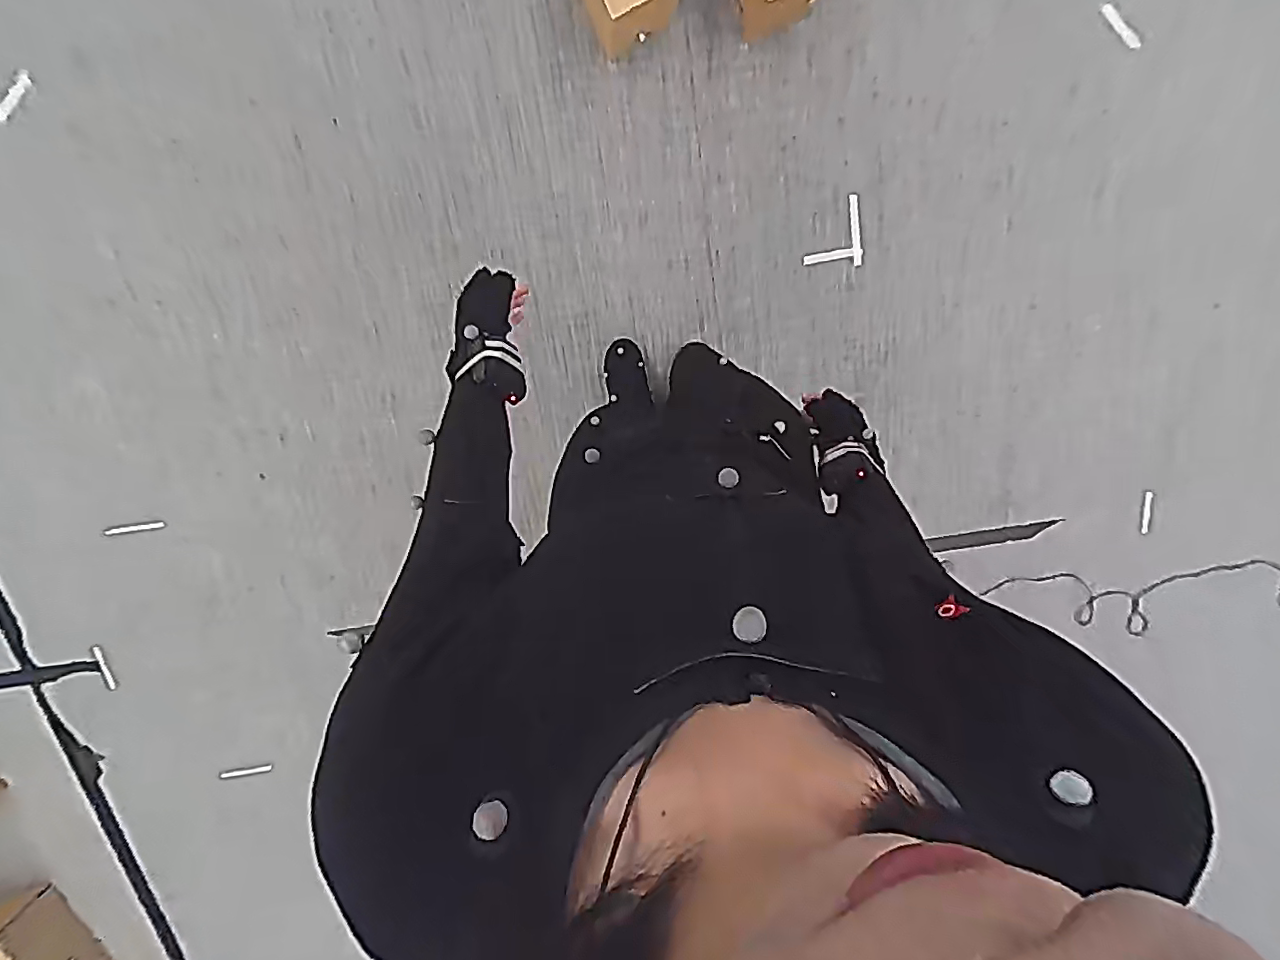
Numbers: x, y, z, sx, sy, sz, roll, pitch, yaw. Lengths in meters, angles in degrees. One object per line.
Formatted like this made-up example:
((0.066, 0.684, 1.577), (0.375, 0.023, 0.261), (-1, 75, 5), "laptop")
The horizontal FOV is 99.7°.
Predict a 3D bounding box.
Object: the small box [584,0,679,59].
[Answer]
((-0.028, -1.077, 1.172), (0.168, 0.176, 0.179), (-27, 105, 3), "small box")

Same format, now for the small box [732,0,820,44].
((0.309, -1.123, 1.188), (0.179, 0.176, 0.168), (-26, 103, 3), "small box")
